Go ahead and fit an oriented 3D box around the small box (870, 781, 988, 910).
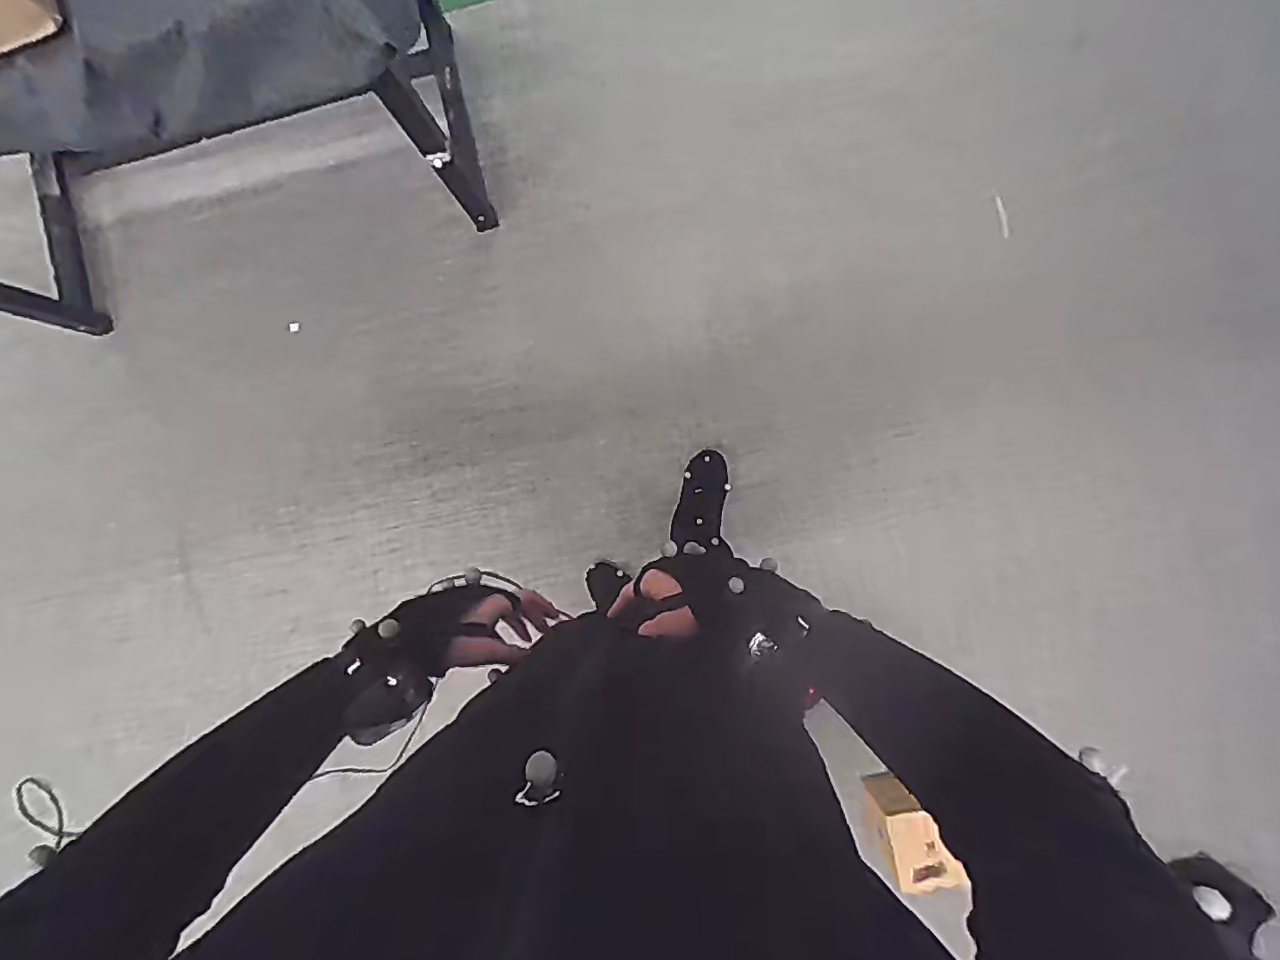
[{"bbox_3d":[0.658,0.835,1.250,0.168,0.176,0.179,-13,86,4],"label":"small box"}]
